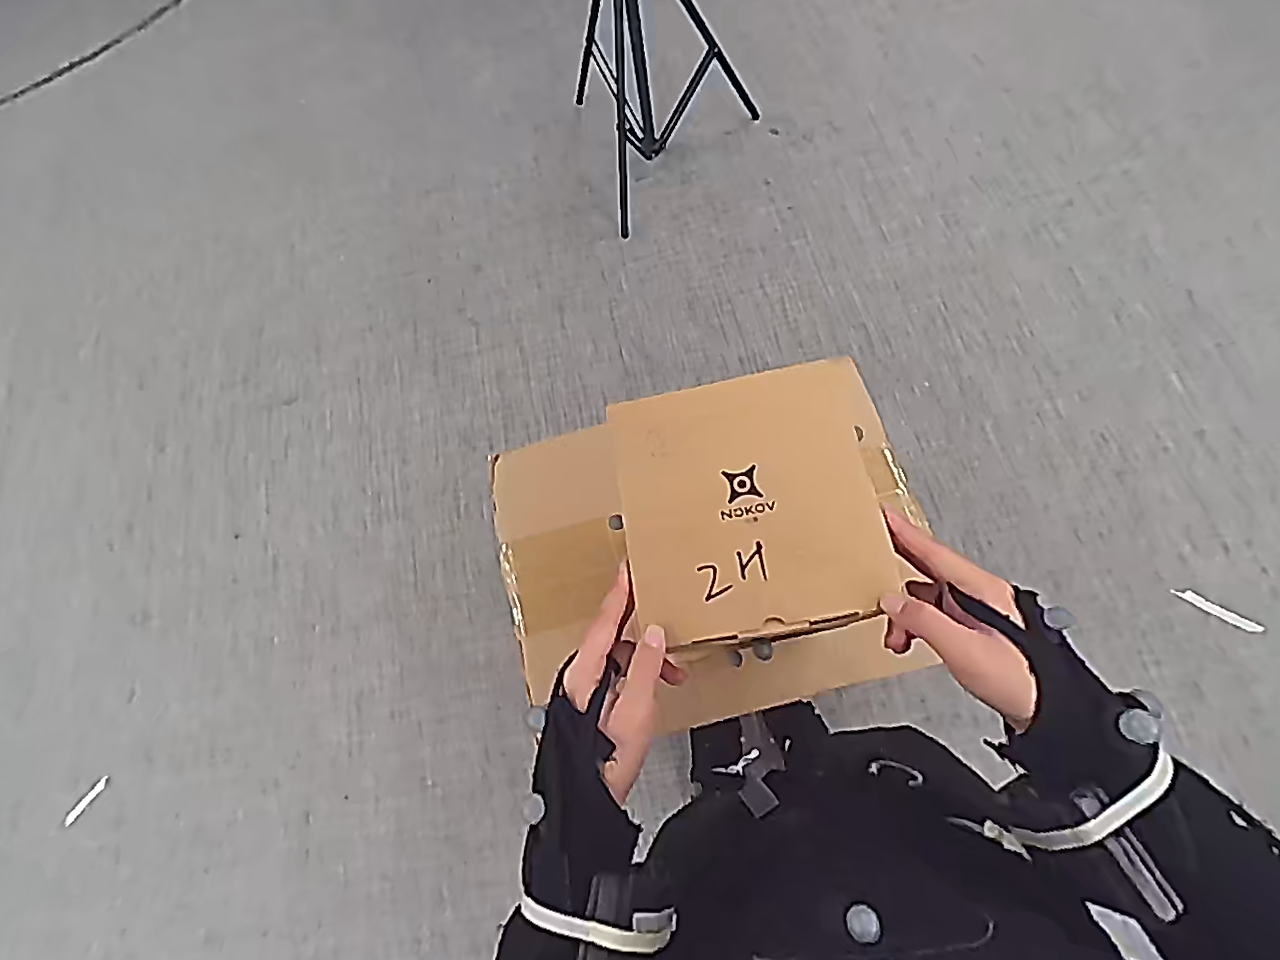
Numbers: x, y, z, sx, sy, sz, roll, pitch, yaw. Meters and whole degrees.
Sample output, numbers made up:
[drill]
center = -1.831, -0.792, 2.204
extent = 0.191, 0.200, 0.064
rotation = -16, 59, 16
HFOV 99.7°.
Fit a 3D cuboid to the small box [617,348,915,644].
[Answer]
[small box]
center = 0.084, 0.027, 0.430
extent = 0.168, 0.176, 0.179
rotation = -11, 70, 5
